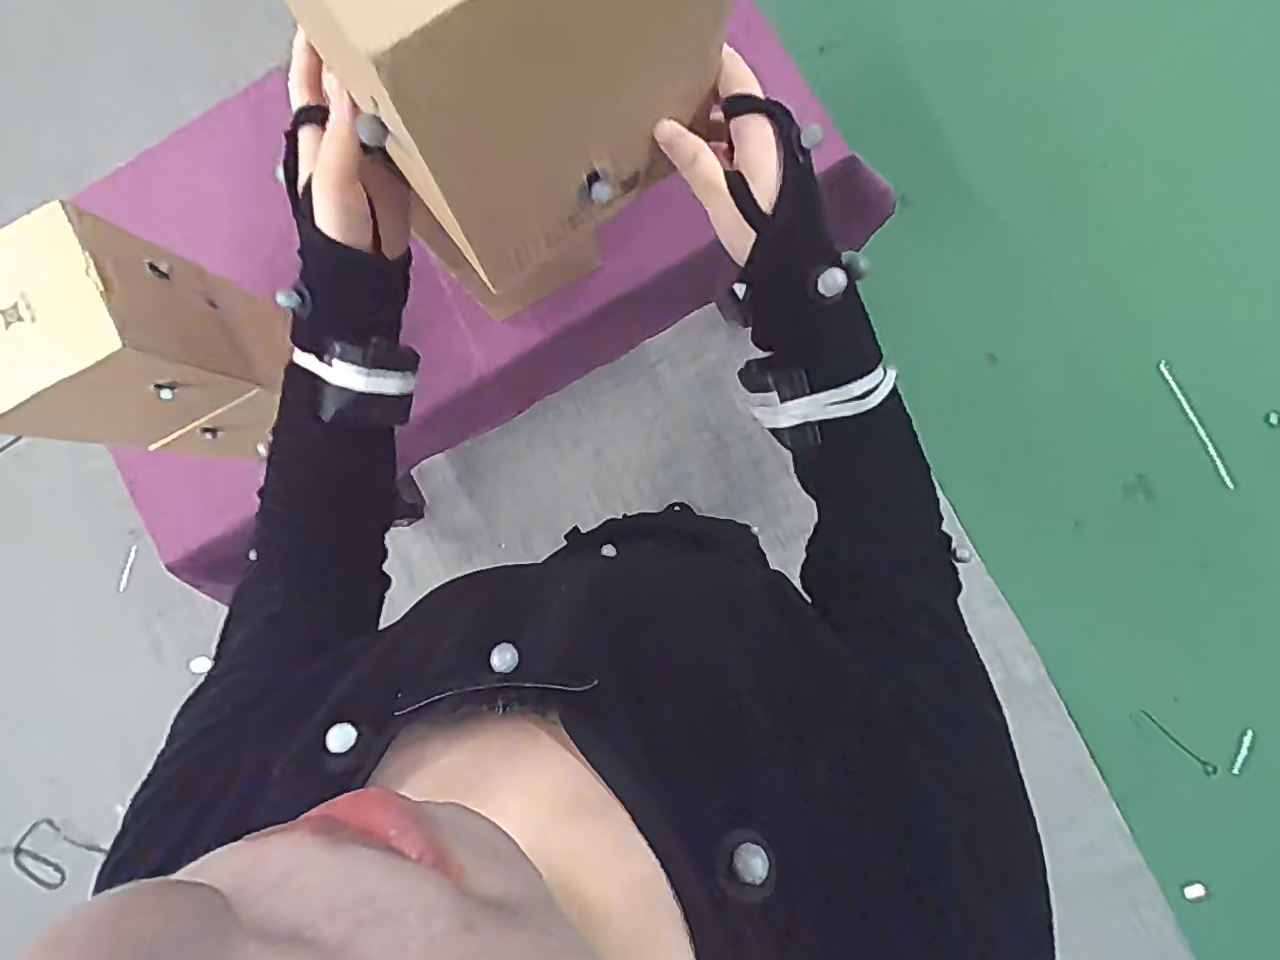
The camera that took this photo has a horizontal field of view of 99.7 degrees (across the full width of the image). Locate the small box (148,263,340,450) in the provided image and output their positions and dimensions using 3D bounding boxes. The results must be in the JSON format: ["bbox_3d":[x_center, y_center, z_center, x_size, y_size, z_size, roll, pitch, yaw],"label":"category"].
[{"bbox_3d":[-0.566,-0.157,0.753,0.168,0.176,0.179,-27,86,3],"label":"small box"}]

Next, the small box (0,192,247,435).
[{"bbox_3d":[-0.578,-0.162,0.589,0.179,0.176,0.168,-26,86,3],"label":"small box"}]

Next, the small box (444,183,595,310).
[{"bbox_3d":[-0.180,-0.359,0.732,0.179,0.176,0.168,-28,87,2],"label":"small box"}]

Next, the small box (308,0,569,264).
[{"bbox_3d":[-0.189,-0.366,0.569,0.179,0.176,0.168,-29,87,4],"label":"small box"}]
